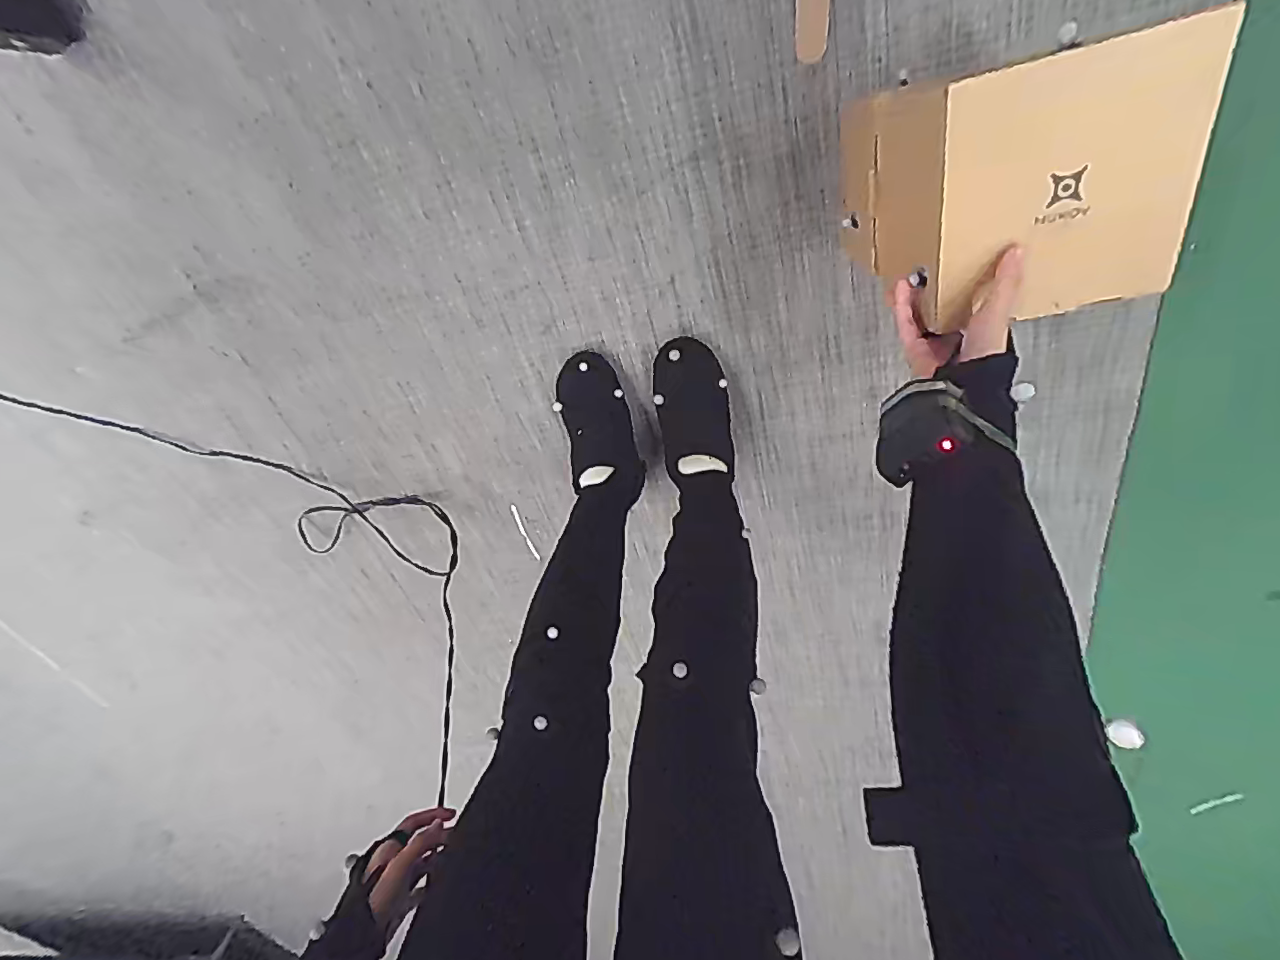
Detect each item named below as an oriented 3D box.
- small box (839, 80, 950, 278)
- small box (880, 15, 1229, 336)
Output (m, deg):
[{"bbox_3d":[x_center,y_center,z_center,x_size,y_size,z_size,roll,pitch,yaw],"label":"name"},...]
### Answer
[{"bbox_3d":[0.321,-0.334,0.590,0.179,0.176,0.168,-6,122,11],"label":"small box"},{"bbox_3d":[0.309,-0.245,0.455,0.168,0.176,0.179,-9,123,12],"label":"small box"}]
